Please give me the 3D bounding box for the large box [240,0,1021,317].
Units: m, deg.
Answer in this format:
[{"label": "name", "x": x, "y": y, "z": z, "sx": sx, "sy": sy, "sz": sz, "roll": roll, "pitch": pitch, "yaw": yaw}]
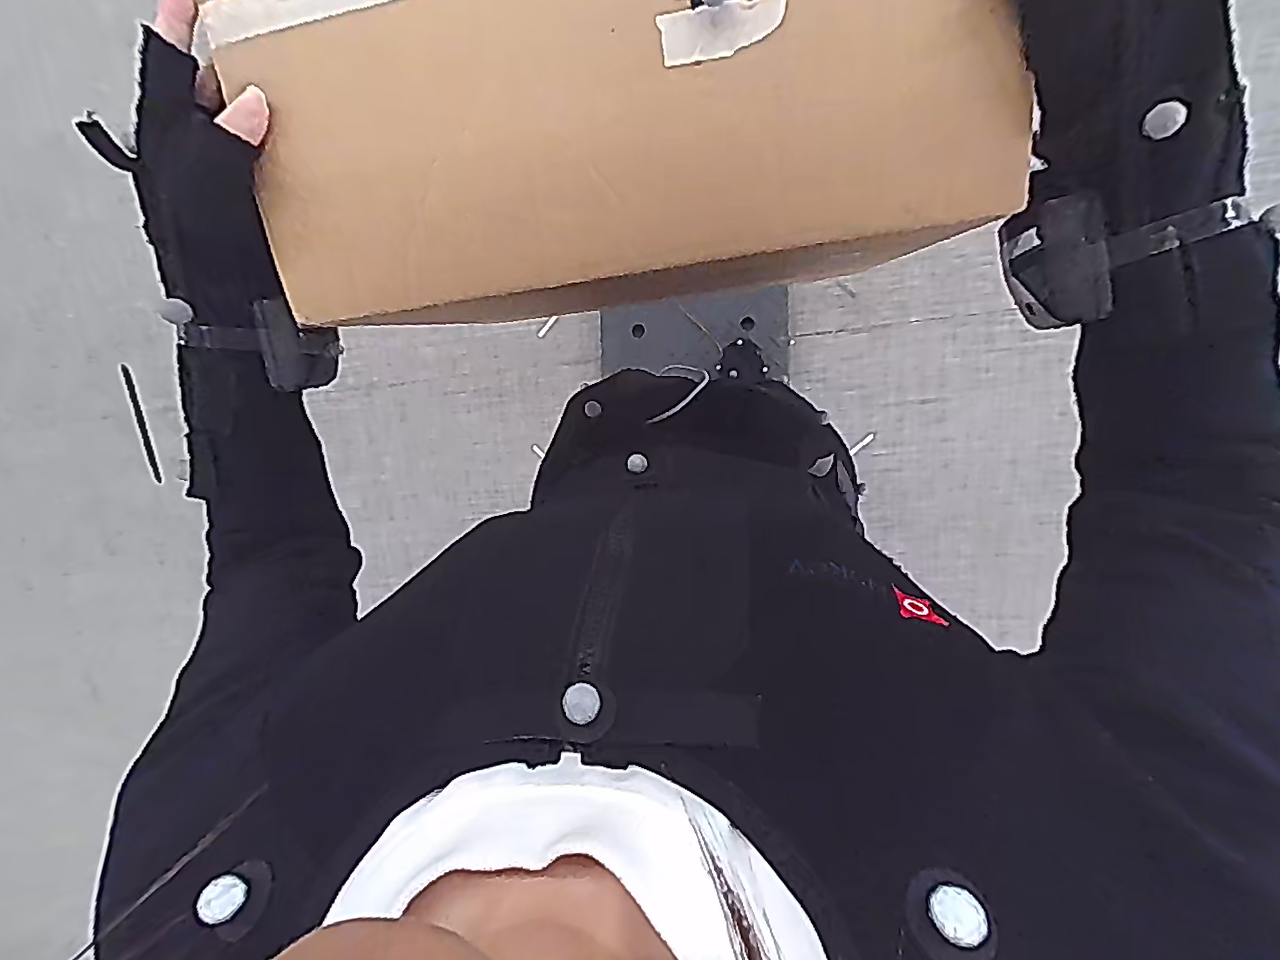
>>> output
[{"label": "large box", "x": -0.007, "y": -0.313, "z": 0.409, "sx": 0.408, "sy": 0.320, "sz": 0.320, "roll": -5, "pitch": 106, "yaw": 10}]
